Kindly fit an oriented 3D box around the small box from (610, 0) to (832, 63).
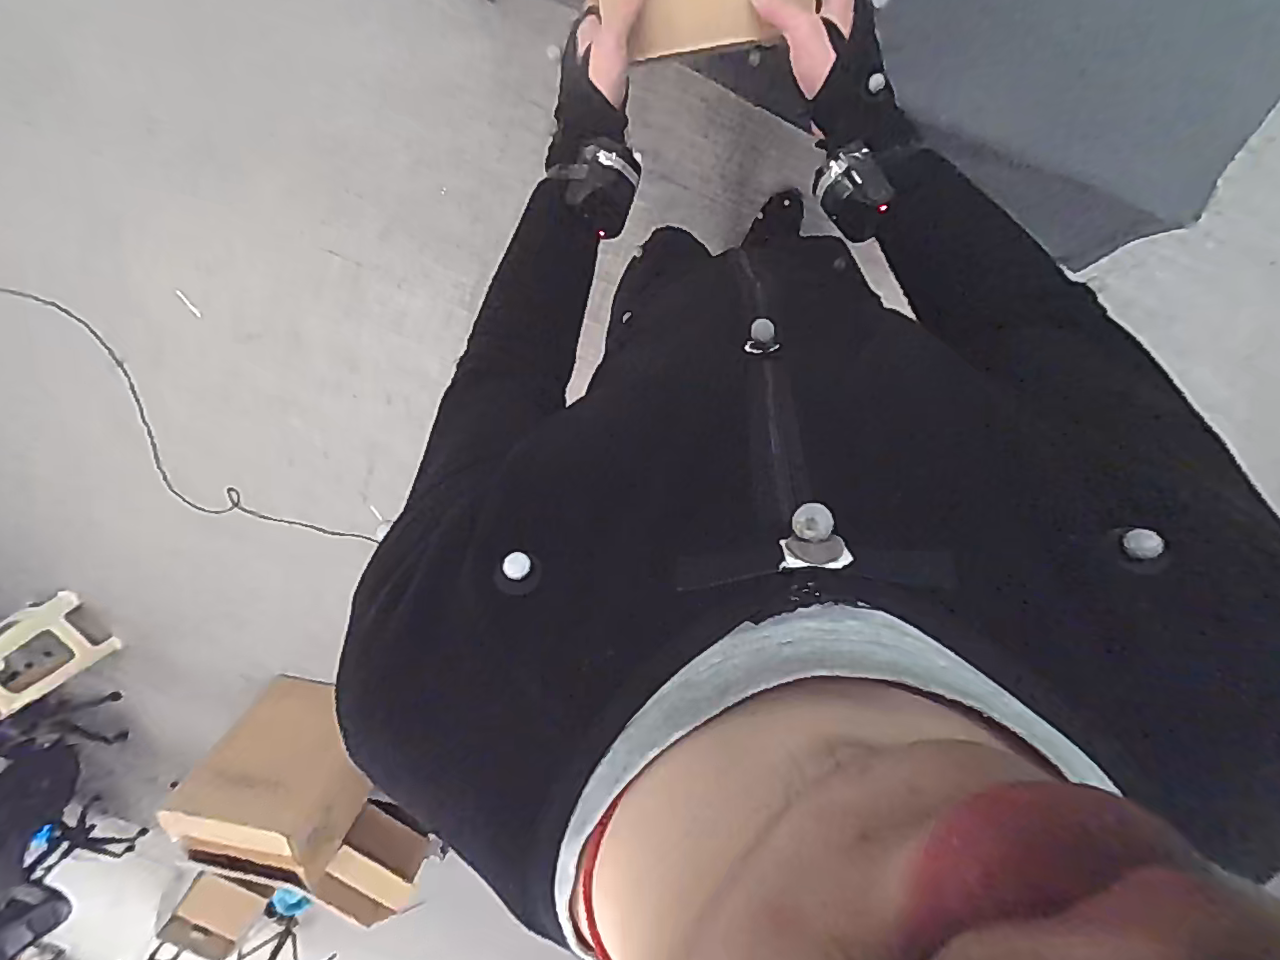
[{"bbox_3d":[0.062,-0.470,0.457,0.179,0.176,0.168,-3,126,10],"label":"small box"}]
